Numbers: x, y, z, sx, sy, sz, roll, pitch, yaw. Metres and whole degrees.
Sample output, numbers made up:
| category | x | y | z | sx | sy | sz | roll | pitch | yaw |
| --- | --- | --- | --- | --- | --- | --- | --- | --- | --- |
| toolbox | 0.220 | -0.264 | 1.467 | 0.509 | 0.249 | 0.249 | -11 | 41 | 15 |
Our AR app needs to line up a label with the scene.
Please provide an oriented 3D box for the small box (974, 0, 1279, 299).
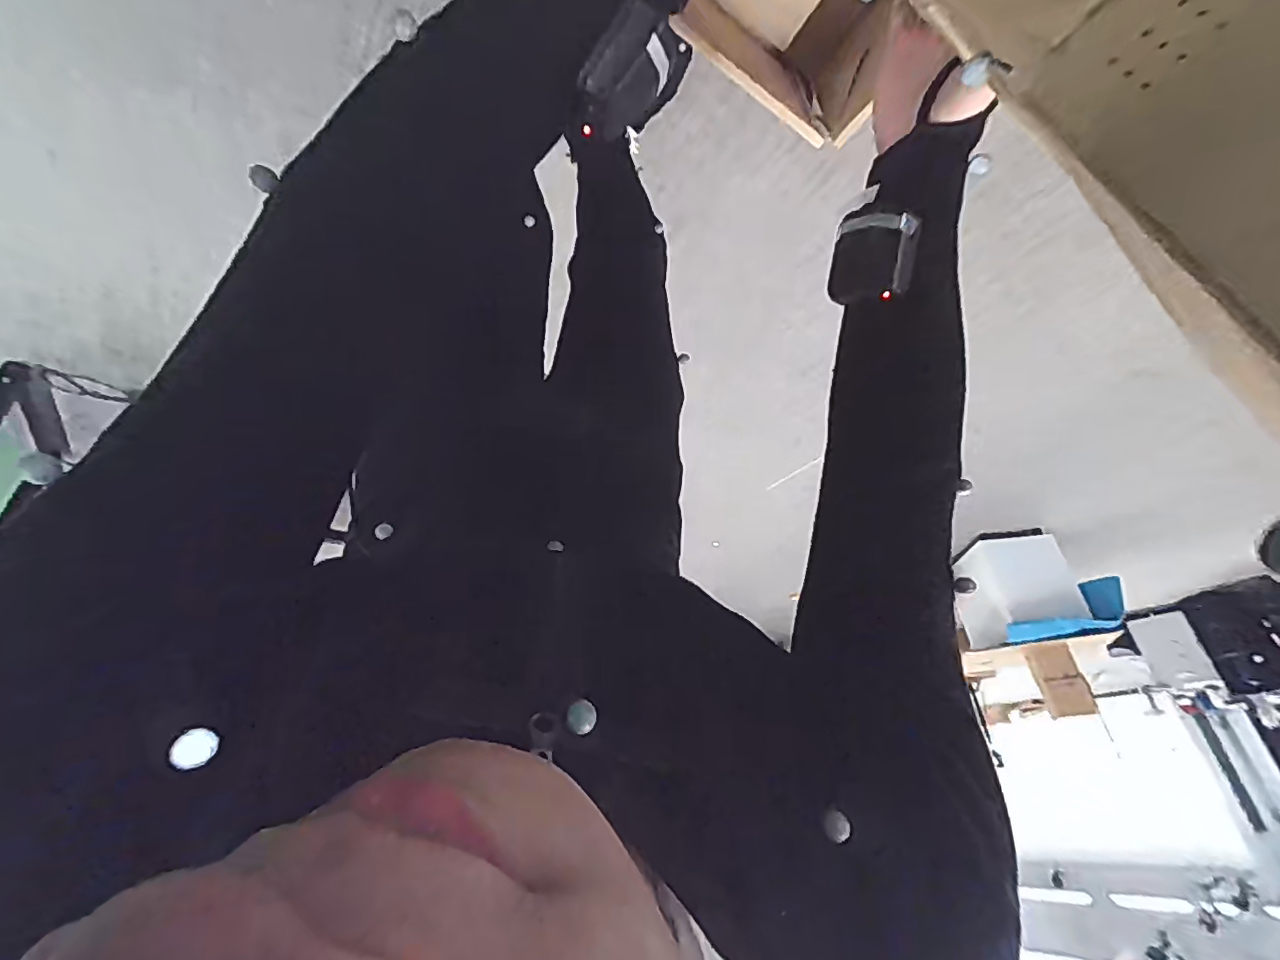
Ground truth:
| category | x | y | z | sx | sy | sz | roll | pitch | yaw |
| --- | --- | --- | --- | --- | --- | --- | --- | --- | --- |
| small box | 0.220 | -0.199 | 0.159 | 0.168 | 0.176 | 0.179 | 16 | 143 | -31 |

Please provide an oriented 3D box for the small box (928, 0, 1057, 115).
| category | x | y | z | sx | sy | sz | roll | pitch | yaw |
| --- | --- | --- | --- | --- | --- | --- | --- | --- | --- |
| small box | 0.206 | -0.333 | 0.249 | 0.168 | 0.176 | 0.179 | 17 | 142 | -30 |
